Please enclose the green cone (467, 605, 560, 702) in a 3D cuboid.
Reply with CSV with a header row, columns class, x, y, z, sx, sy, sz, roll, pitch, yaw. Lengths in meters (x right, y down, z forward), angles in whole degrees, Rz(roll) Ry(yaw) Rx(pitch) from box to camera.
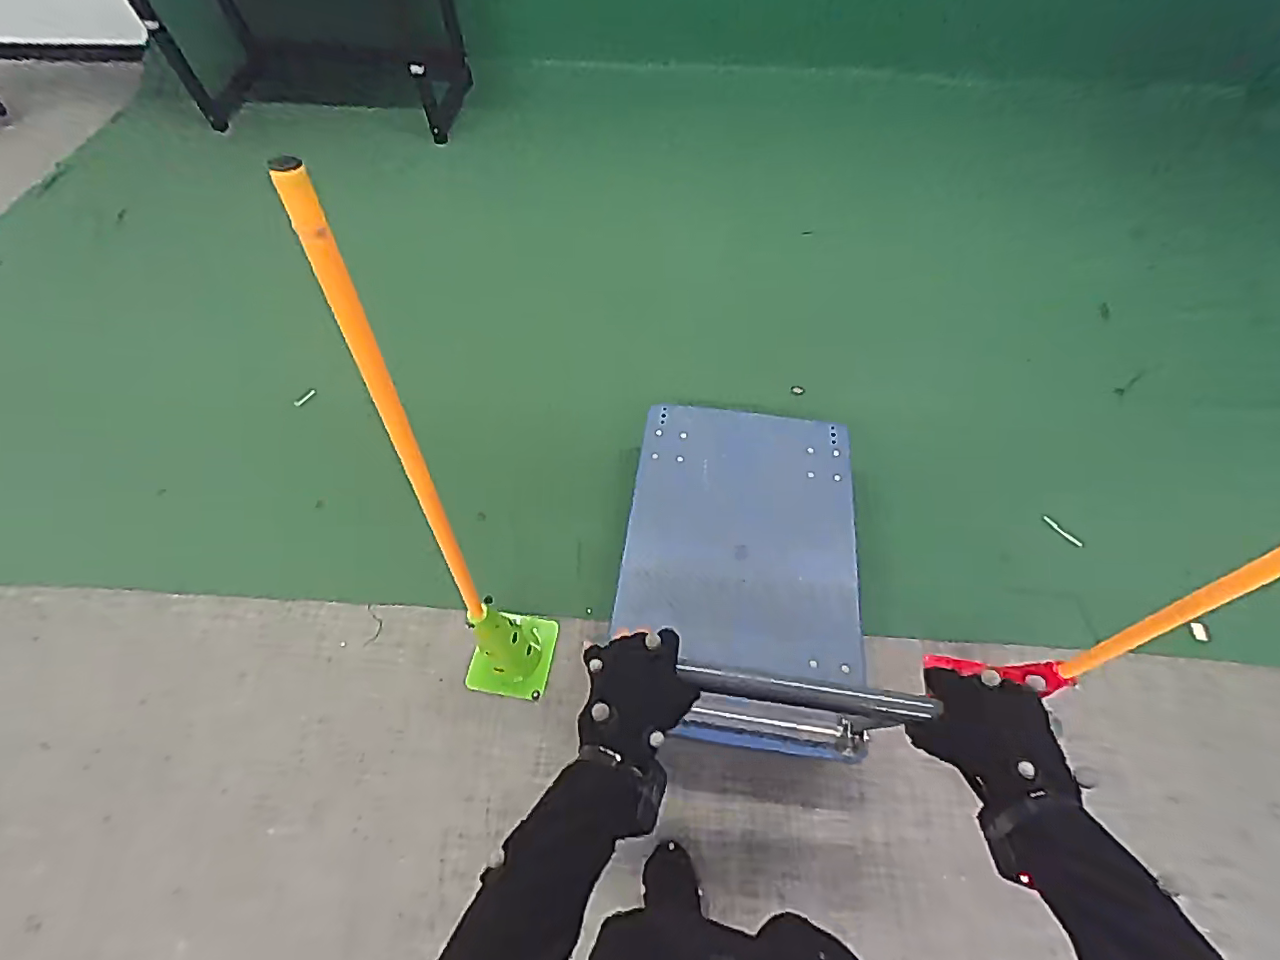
class,x,y,z,sx,sy,sz,roll,pitch,yaw
green cone,-0.323,0.365,1.250,0.202,0.368,0.200,7,58,6
